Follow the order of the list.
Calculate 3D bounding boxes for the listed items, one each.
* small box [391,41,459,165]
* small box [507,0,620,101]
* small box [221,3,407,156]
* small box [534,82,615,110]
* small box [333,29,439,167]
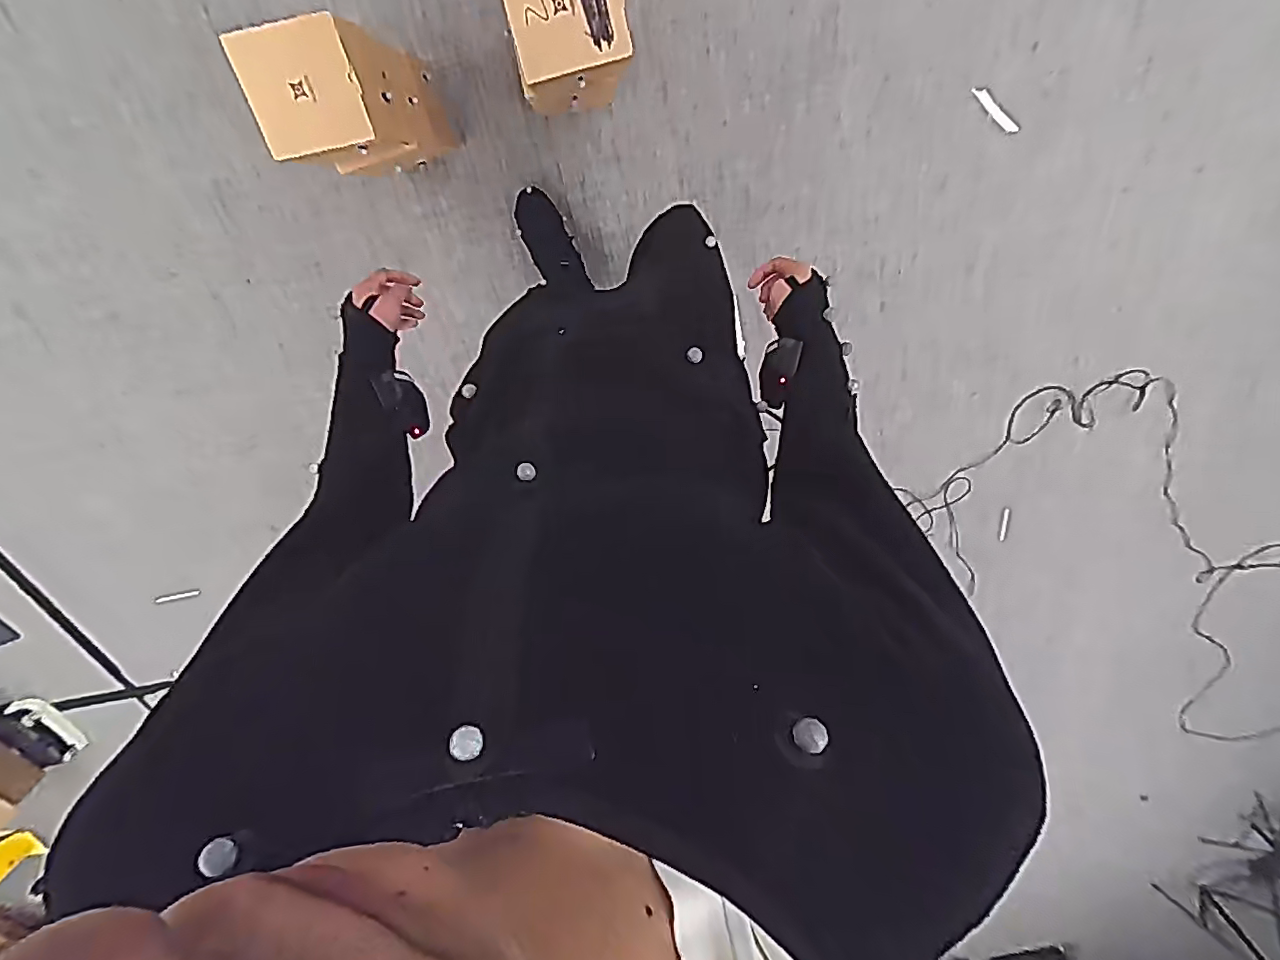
[{"bbox_3d":[-0.521,-0.807,1.177,0.168,0.176,0.179,-17,120,5],"label":"small box"},{"bbox_3d":[-0.141,-0.824,1.007,0.179,0.176,0.168,-10,120,0],"label":"small box"},{"bbox_3d":[-0.519,-0.645,0.893,0.179,0.176,0.168,-11,120,2],"label":"small box"},{"bbox_3d":[-0.153,-0.905,1.149,0.179,0.176,0.168,-11,121,1],"label":"small box"},{"bbox_3d":[-0.516,-0.719,1.038,0.168,0.176,0.179,-15,121,5],"label":"small box"}]
